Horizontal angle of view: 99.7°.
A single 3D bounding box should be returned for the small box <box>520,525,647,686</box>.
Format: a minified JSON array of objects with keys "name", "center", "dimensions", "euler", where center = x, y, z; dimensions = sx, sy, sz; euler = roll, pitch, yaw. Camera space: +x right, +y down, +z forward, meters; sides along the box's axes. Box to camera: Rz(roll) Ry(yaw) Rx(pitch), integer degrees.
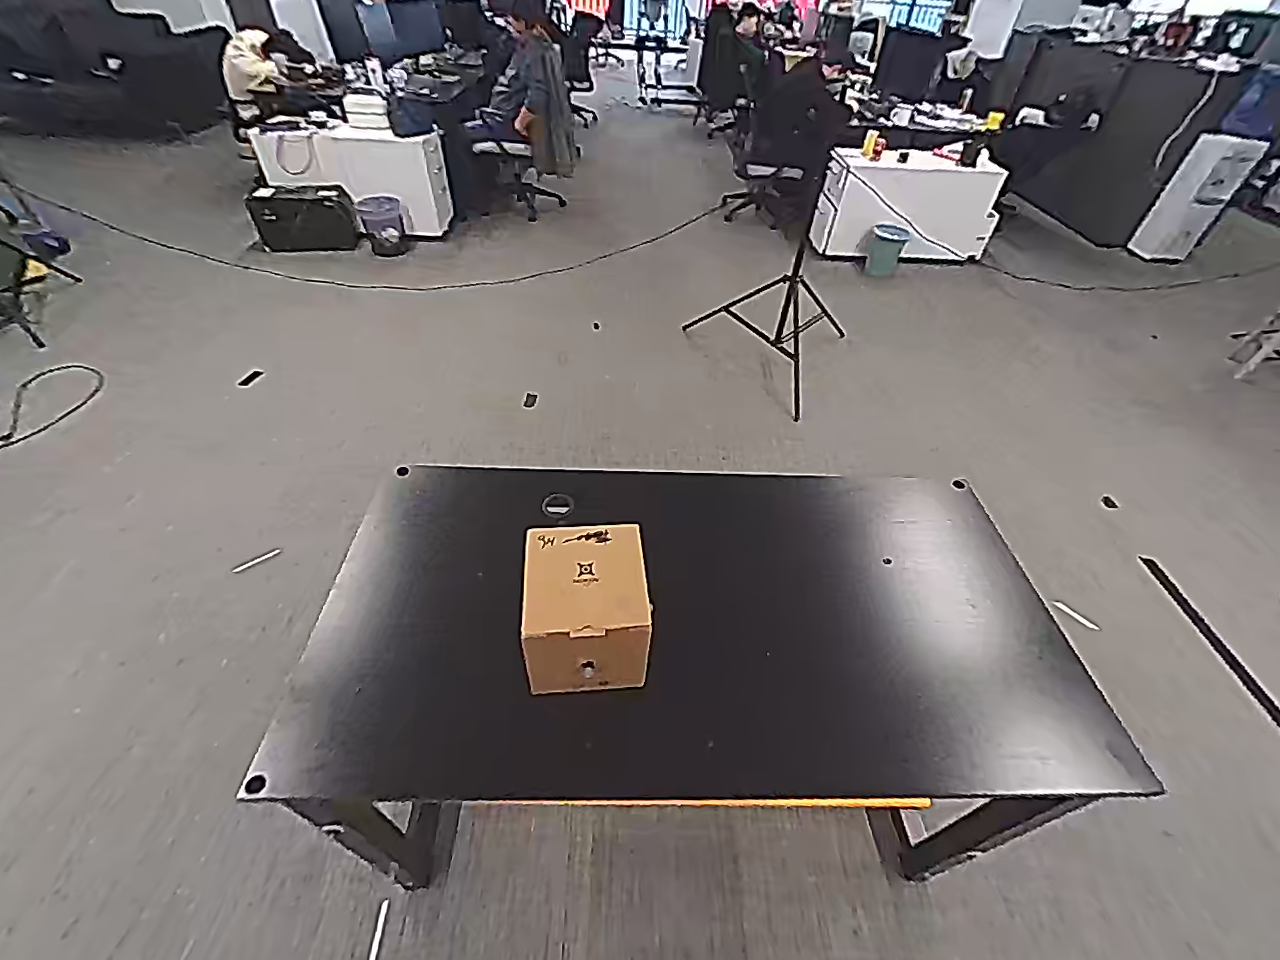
[{"name":"small box","center":[-0.079,0.189,0.798],"dimensions":[0.168,0.176,0.179],"euler":[-2,45,-6]}]
